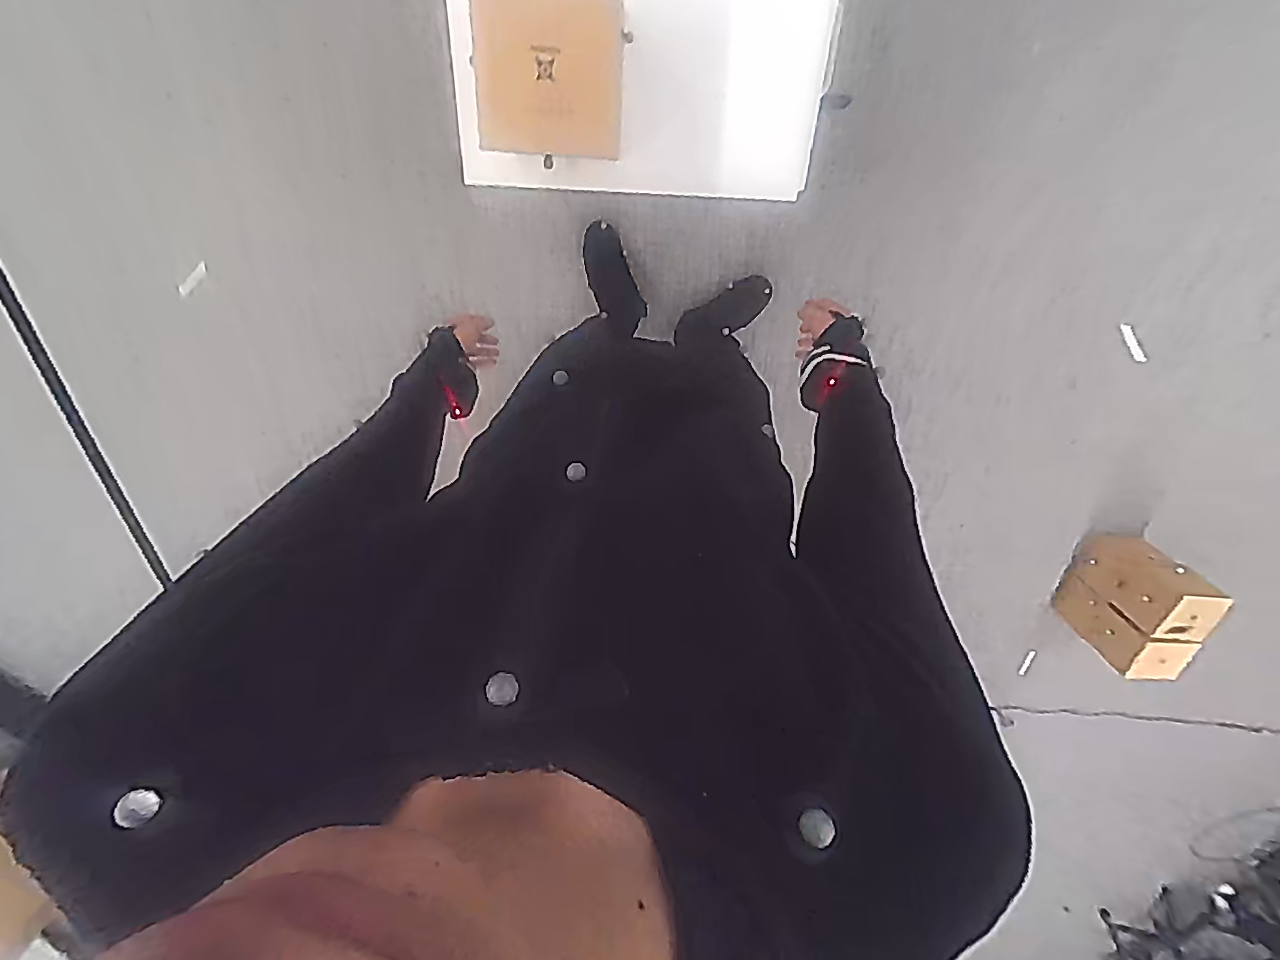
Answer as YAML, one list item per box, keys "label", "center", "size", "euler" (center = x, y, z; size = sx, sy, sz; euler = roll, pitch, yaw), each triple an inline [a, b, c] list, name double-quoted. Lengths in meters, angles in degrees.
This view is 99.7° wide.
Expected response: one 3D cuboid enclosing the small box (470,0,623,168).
- label: "small box"
  center: [-0.109, -0.506, 0.687]
  size: [0.168, 0.176, 0.179]
  euler: [3, 119, -1]
